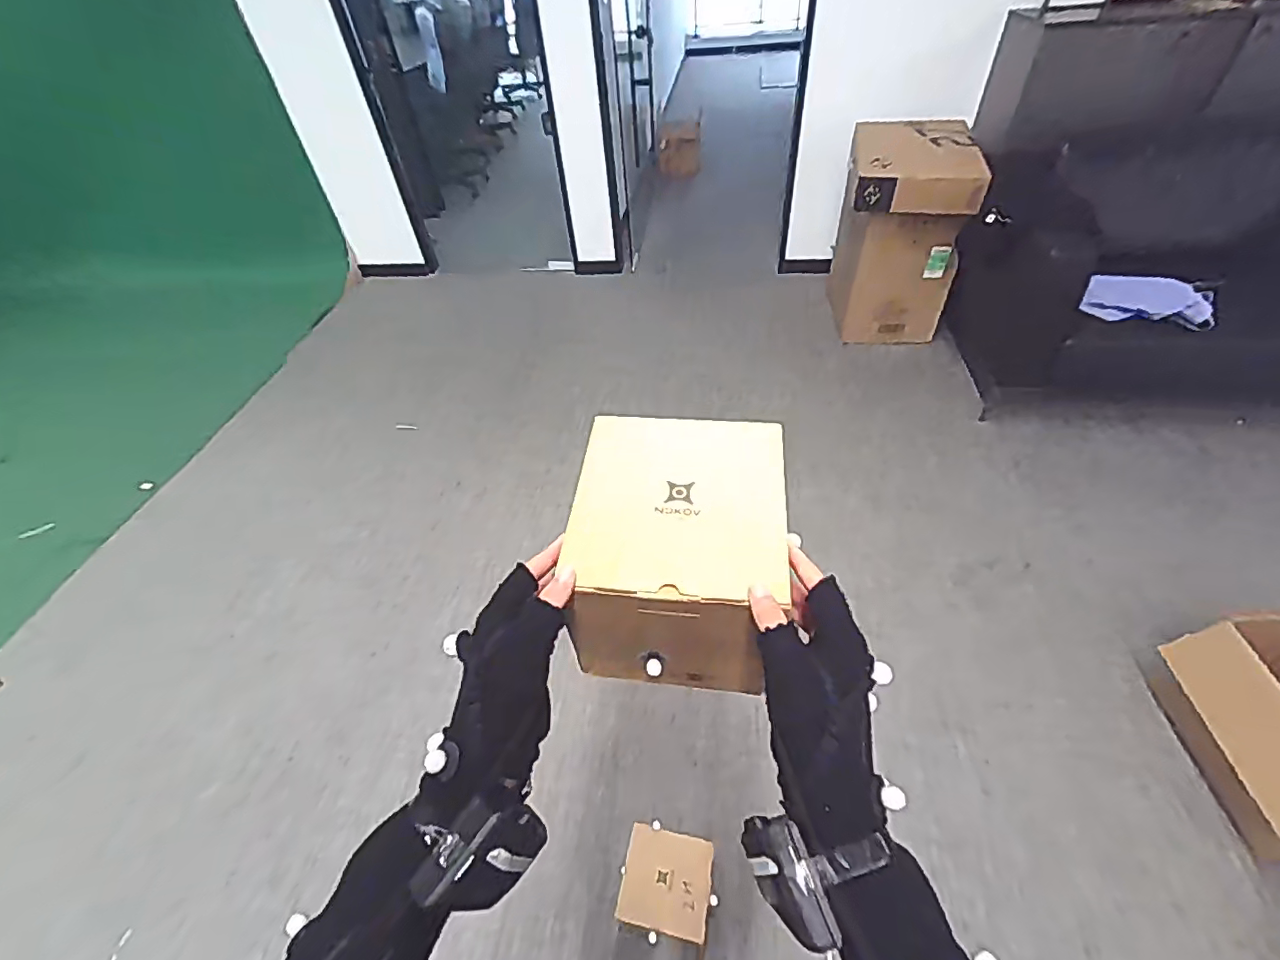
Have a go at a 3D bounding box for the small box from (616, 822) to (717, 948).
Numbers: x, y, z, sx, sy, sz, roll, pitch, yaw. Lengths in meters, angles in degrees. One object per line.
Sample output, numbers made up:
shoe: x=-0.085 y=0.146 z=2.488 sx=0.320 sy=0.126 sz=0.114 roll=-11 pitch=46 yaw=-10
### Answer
small box: x=0.063 y=0.843 z=1.123 sx=0.179 sy=0.176 sz=0.168 roll=6 pitch=48 yaw=13
